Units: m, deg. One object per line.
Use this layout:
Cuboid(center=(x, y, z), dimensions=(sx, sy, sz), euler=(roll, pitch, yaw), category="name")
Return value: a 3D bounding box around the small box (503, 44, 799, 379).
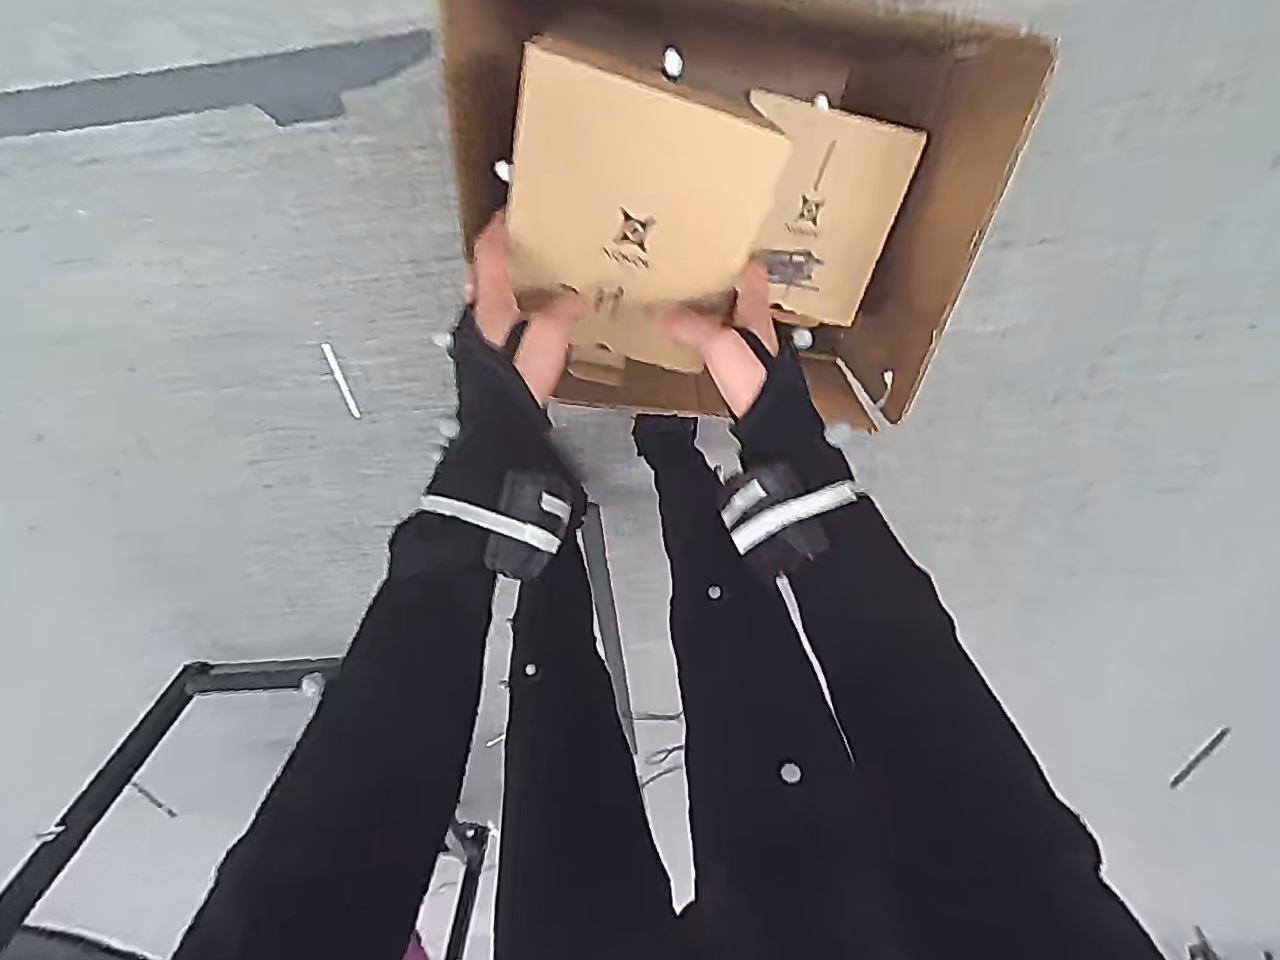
Cuboid(center=(-0.004, -0.213, 0.430), dimensions=(0.168, 0.176, 0.179), euler=(12, 131, -11), category="small box")
